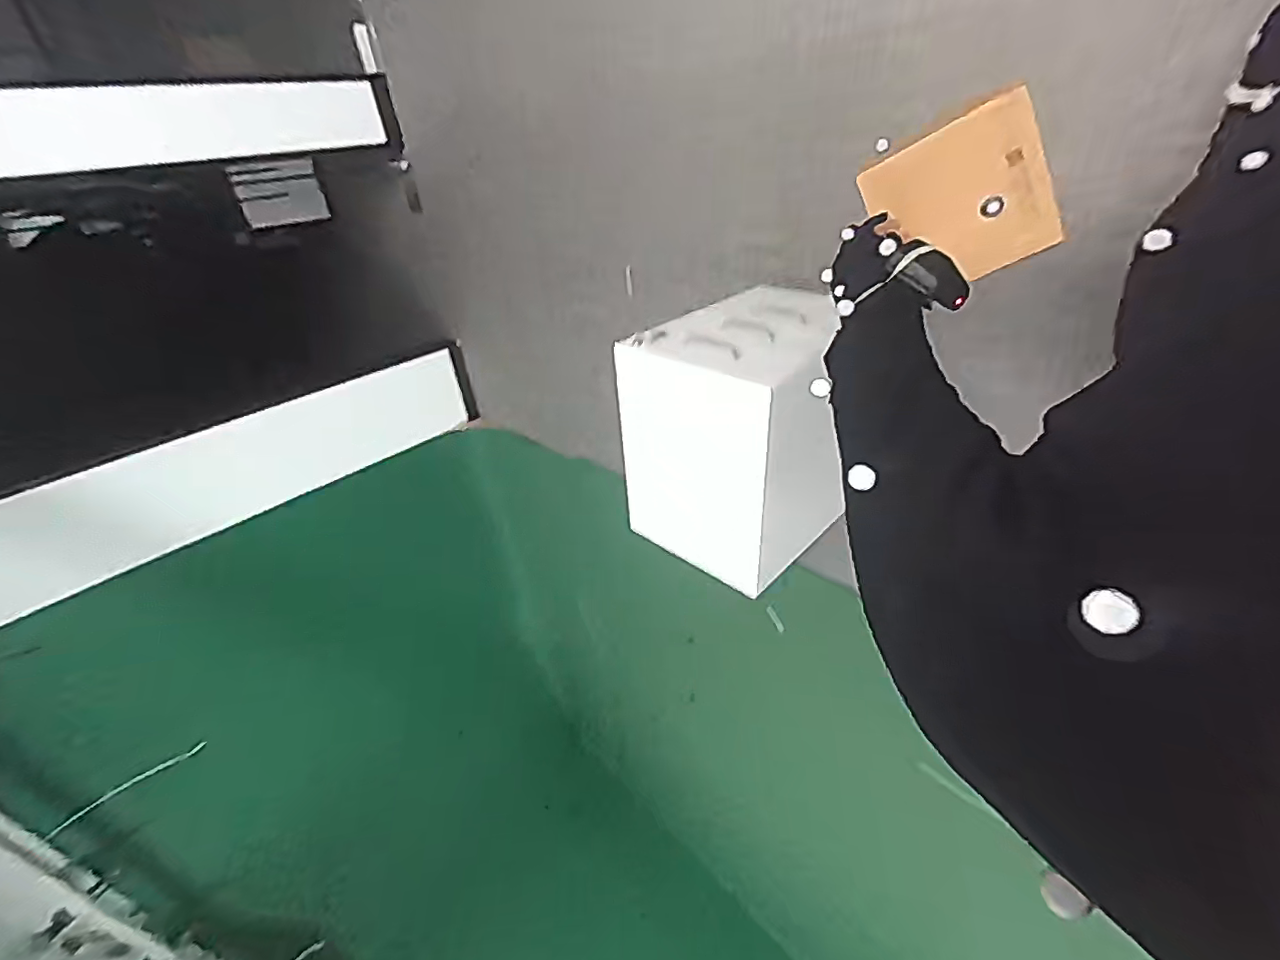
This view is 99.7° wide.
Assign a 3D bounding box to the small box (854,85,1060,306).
[{"bbox_3d":[0.376,-0.343,0.660,0.176,0.179,0.168,-19,114,27],"label":"small box"}]
